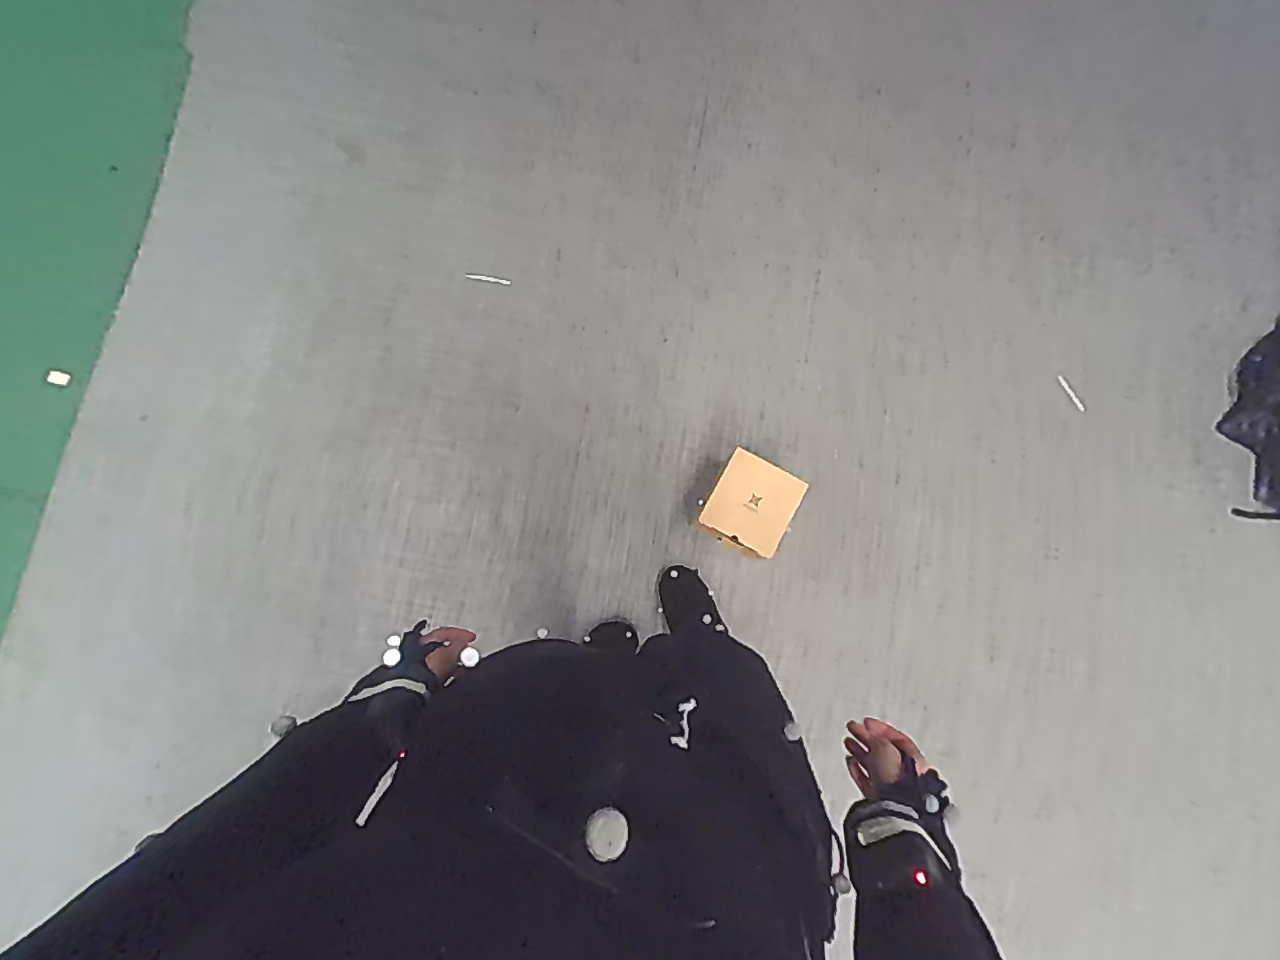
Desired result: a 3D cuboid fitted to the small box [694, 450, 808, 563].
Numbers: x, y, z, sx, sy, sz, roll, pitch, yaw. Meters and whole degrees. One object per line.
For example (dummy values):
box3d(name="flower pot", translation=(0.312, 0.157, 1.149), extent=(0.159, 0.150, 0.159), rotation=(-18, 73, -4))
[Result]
box3d(name="small box", translation=(0.226, 0.061, 1.156), extent=(0.168, 0.176, 0.179), rotation=(29, 83, 4))
